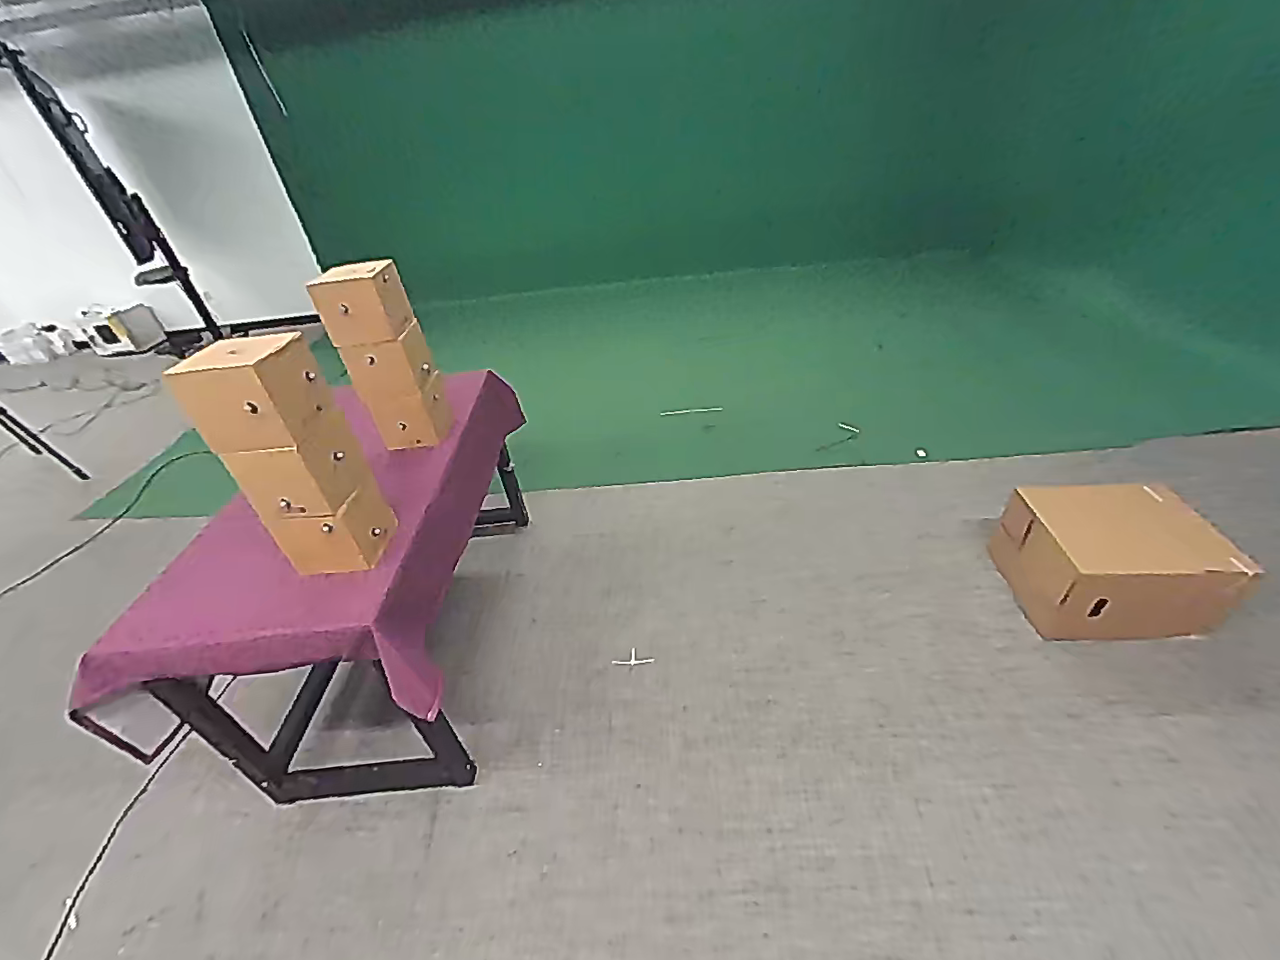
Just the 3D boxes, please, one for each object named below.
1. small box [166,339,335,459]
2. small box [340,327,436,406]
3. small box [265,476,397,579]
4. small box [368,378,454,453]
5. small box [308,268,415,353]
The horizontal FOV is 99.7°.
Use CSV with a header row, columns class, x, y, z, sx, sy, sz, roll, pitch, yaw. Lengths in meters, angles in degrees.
class,x,y,z,sx,sy,sz,roll,pitch,yaw
small box,-0.739,-0.157,1.053,0.179,0.176,0.168,-5,35,5
small box,-0.721,-0.326,1.568,0.179,0.176,0.168,-7,36,2
small box,-0.695,0.110,1.239,0.179,0.176,0.168,-5,35,4
small box,-0.692,-0.194,1.662,0.168,0.176,0.179,-5,35,4
small box,-0.748,-0.460,1.476,0.179,0.176,0.168,-8,36,3
